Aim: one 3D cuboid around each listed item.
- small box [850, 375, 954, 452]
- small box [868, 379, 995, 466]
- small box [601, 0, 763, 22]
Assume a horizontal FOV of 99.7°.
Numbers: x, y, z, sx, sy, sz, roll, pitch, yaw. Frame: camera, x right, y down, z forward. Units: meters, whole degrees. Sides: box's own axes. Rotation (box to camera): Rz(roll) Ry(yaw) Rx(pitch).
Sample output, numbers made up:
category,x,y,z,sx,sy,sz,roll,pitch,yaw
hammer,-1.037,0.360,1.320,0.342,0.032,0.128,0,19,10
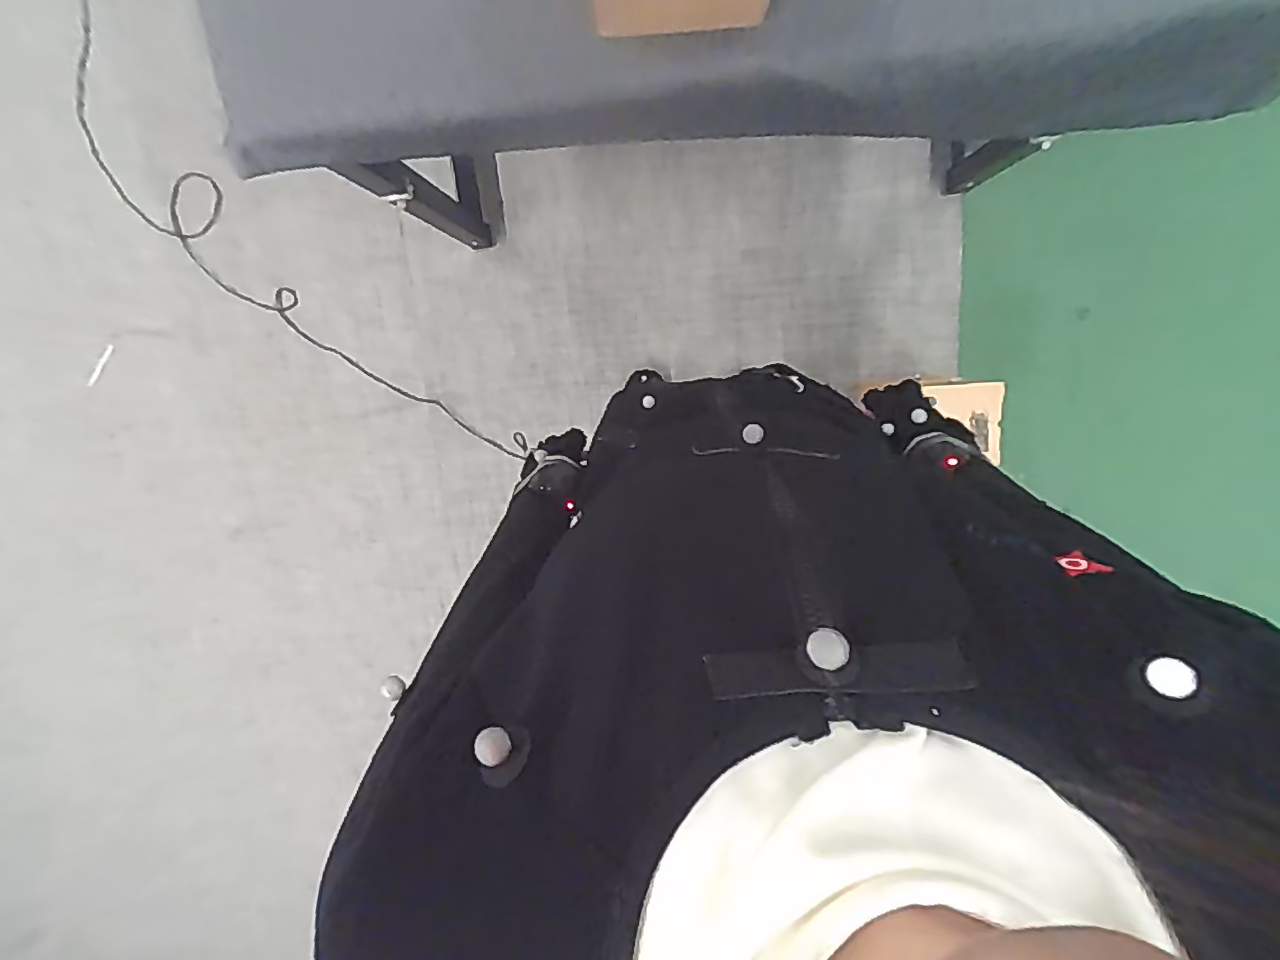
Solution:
category,x,y,z,sx,sy,sz,roll,pitch,yaw
small box,0.620,-0.162,1.294,0.179,0.176,0.168,-4,101,5
small box,0.601,-0.125,1.134,0.179,0.176,0.168,-2,101,4
small box,0.040,-0.553,0.484,0.179,0.176,0.168,-1,102,3
